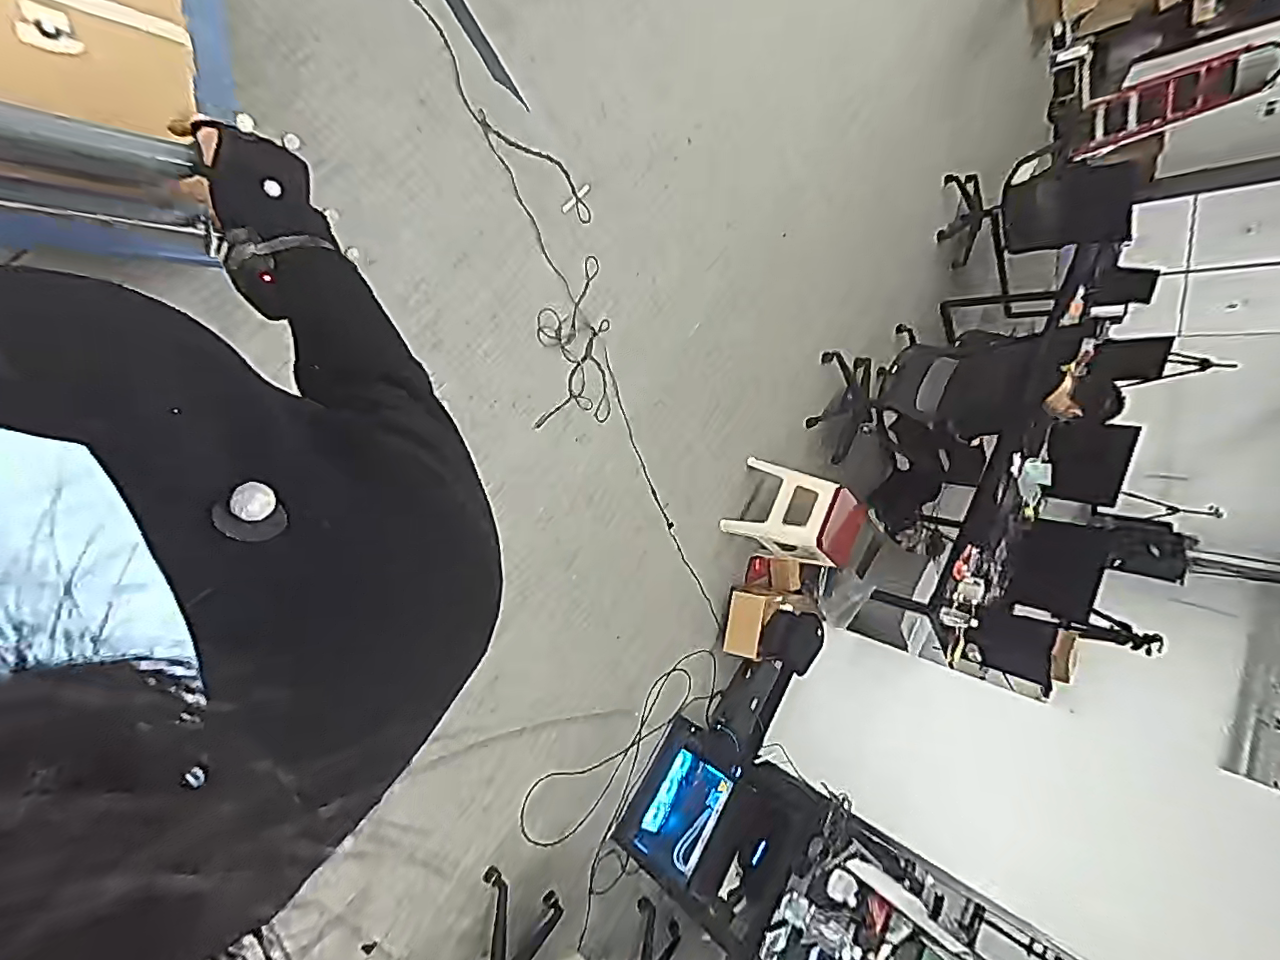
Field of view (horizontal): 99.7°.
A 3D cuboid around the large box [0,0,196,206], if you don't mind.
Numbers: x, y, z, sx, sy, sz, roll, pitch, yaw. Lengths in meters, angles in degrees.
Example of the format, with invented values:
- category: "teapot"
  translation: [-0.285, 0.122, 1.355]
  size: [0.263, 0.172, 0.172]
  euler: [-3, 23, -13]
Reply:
- category: "large box"
  translation: [-0.885, -0.599, 0.718]
  size: [0.408, 0.320, 0.320]
  euler: [-9, 106, -44]
